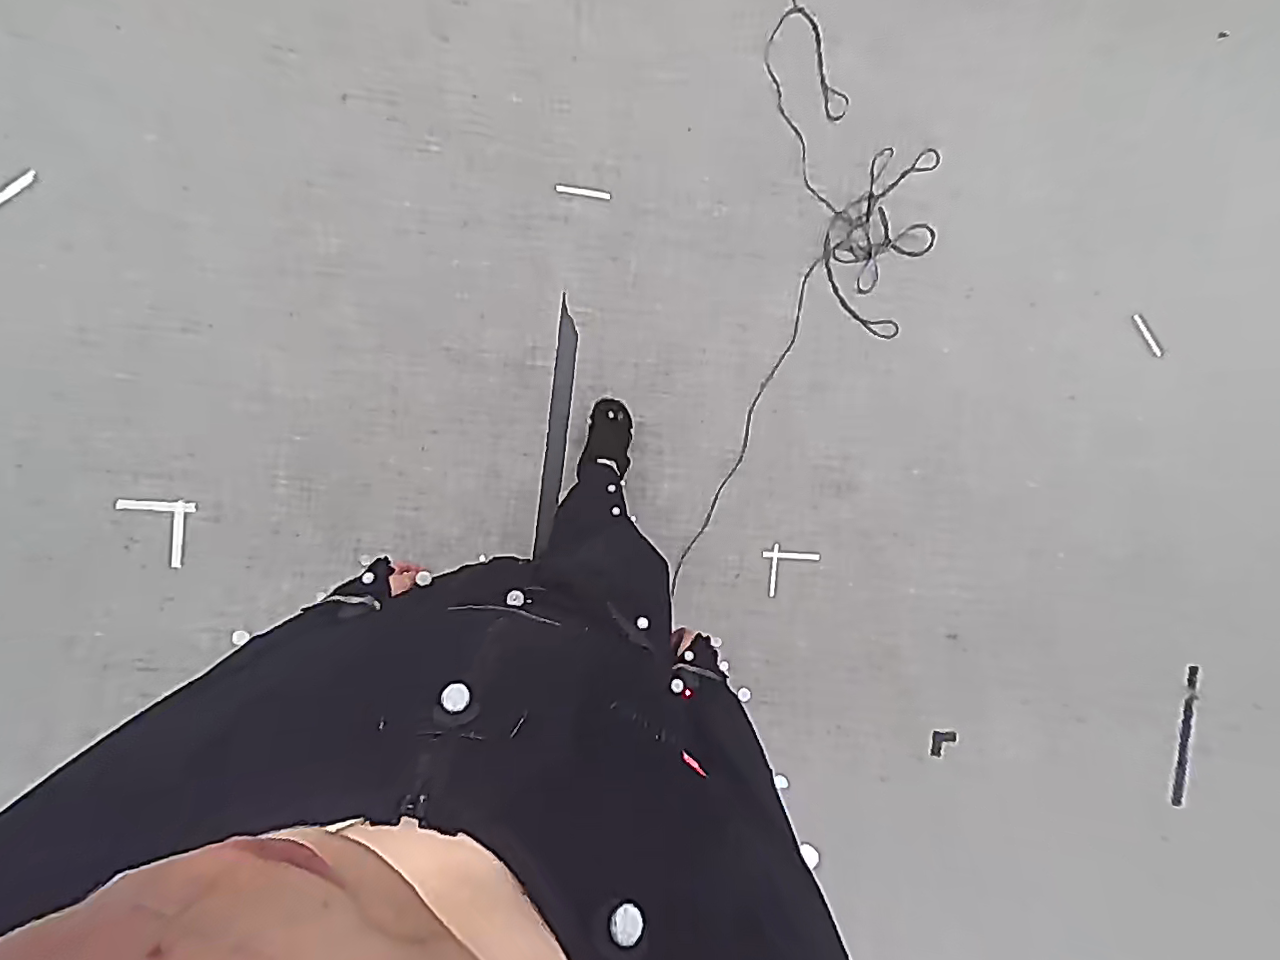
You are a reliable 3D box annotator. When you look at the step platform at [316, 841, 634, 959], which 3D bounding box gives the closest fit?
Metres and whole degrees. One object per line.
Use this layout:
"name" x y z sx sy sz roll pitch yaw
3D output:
"step platform" -0.357 1.061 1.232 0.684 0.204 0.286 11 87 -3
